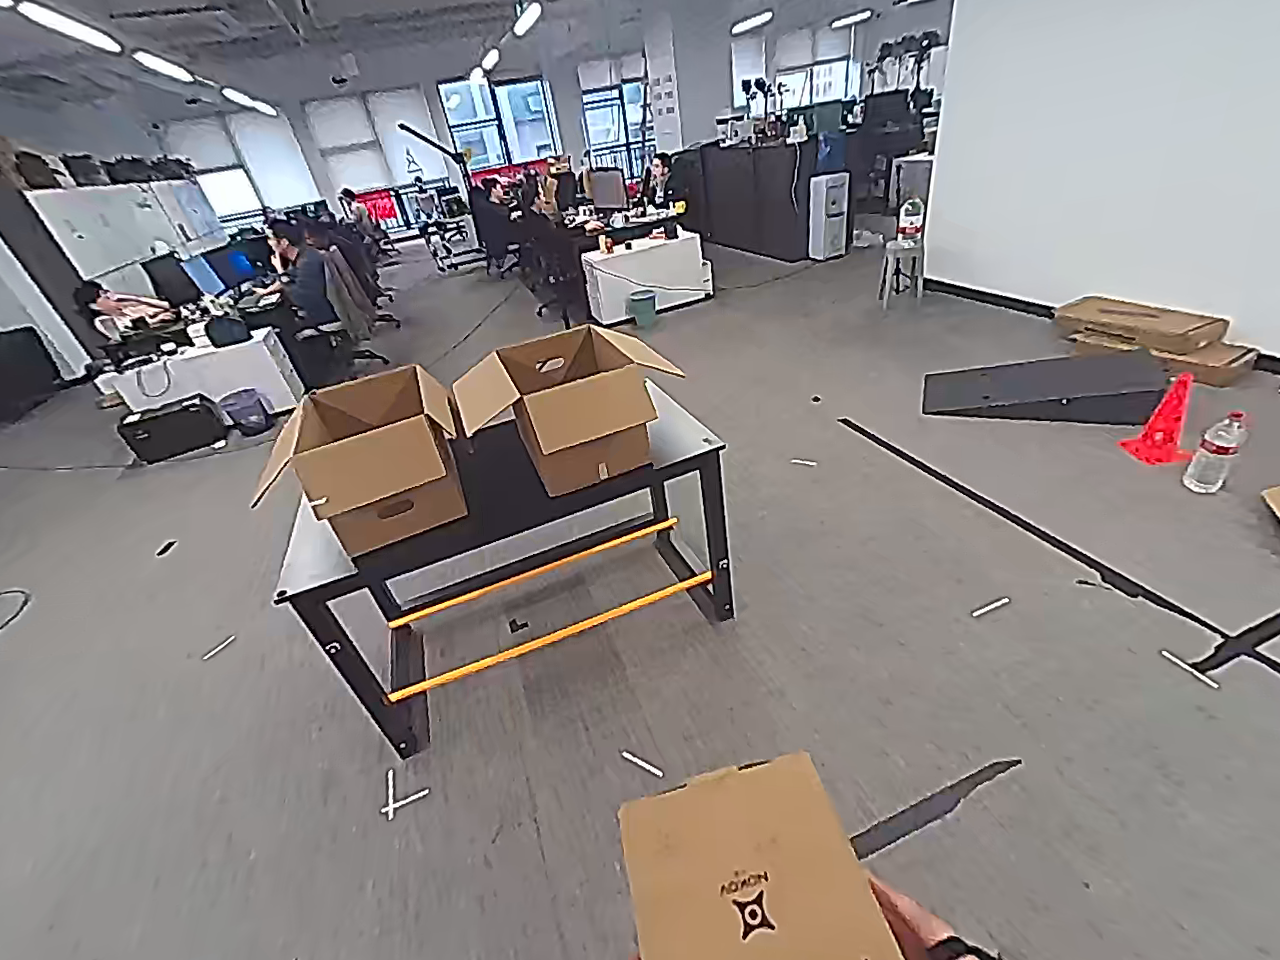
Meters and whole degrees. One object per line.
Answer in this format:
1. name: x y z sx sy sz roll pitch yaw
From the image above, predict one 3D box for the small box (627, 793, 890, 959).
1. small box: 0.095 0.387 0.416 0.168 0.176 0.179 -15 36 -3
